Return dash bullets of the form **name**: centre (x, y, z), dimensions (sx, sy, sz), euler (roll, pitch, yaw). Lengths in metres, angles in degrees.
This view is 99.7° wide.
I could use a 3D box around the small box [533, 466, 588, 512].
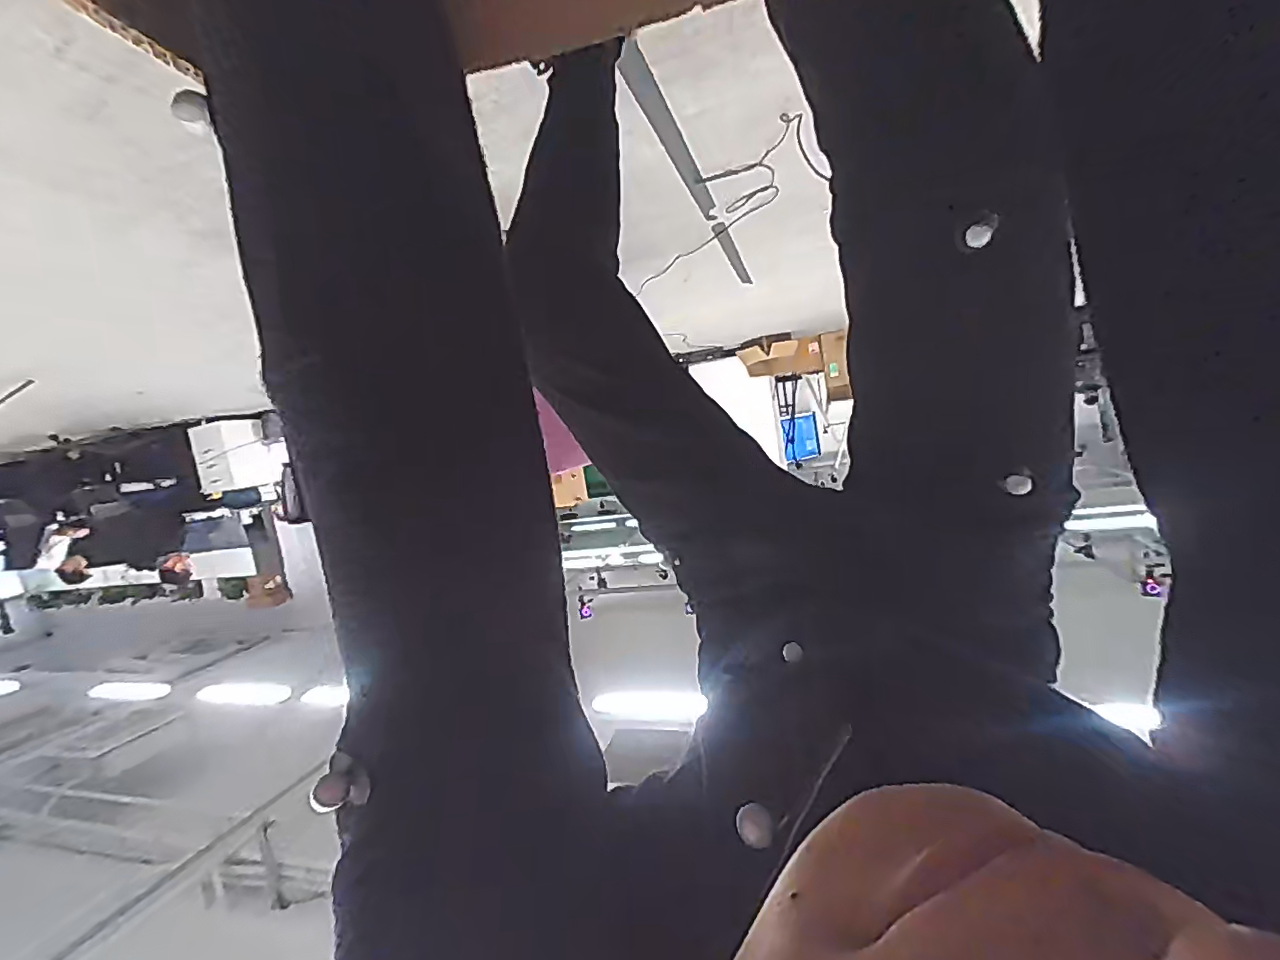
- **small box**: centre (-0.345, 0.037, 2.300), dimensions (0.179, 0.176, 0.168), euler (-7, -173, 28)
